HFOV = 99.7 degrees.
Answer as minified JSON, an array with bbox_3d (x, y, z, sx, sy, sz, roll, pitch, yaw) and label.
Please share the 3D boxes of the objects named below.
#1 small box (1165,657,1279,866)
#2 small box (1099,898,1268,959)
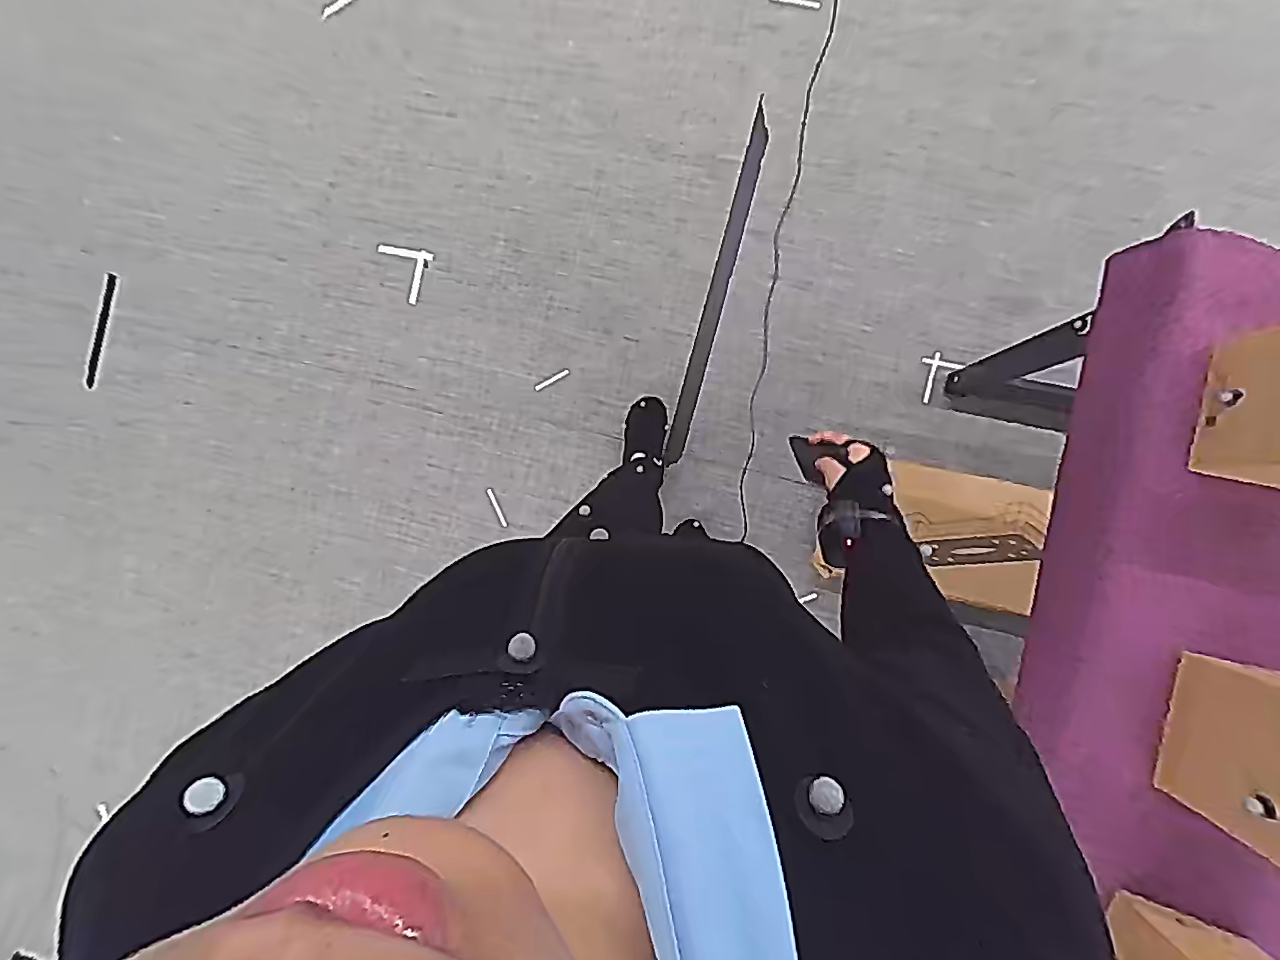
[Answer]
[{"bbox_3d":[0.740,0.319,0.590,0.168,0.176,0.179,12,91,4],"label":"small box"},{"bbox_3d":[0.649,0.624,0.598,0.168,0.176,0.179,19,92,6],"label":"small box"}]
